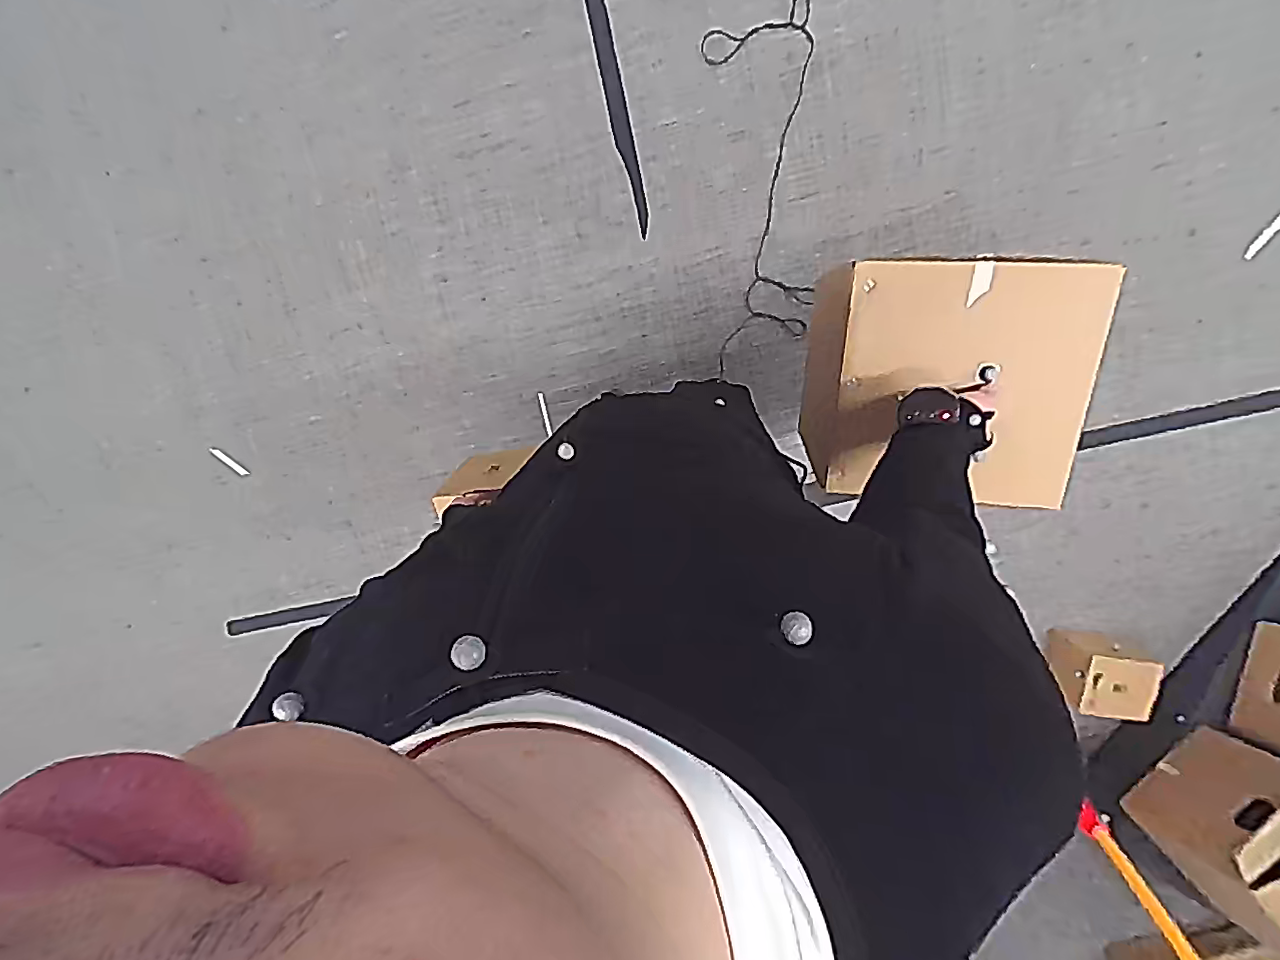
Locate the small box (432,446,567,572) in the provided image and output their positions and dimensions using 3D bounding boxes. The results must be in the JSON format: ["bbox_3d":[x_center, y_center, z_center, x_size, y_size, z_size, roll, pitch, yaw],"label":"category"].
[{"bbox_3d":[-0.243,0.056,0.990,0.168,0.179,0.176,-6,114,11],"label":"small box"}]
